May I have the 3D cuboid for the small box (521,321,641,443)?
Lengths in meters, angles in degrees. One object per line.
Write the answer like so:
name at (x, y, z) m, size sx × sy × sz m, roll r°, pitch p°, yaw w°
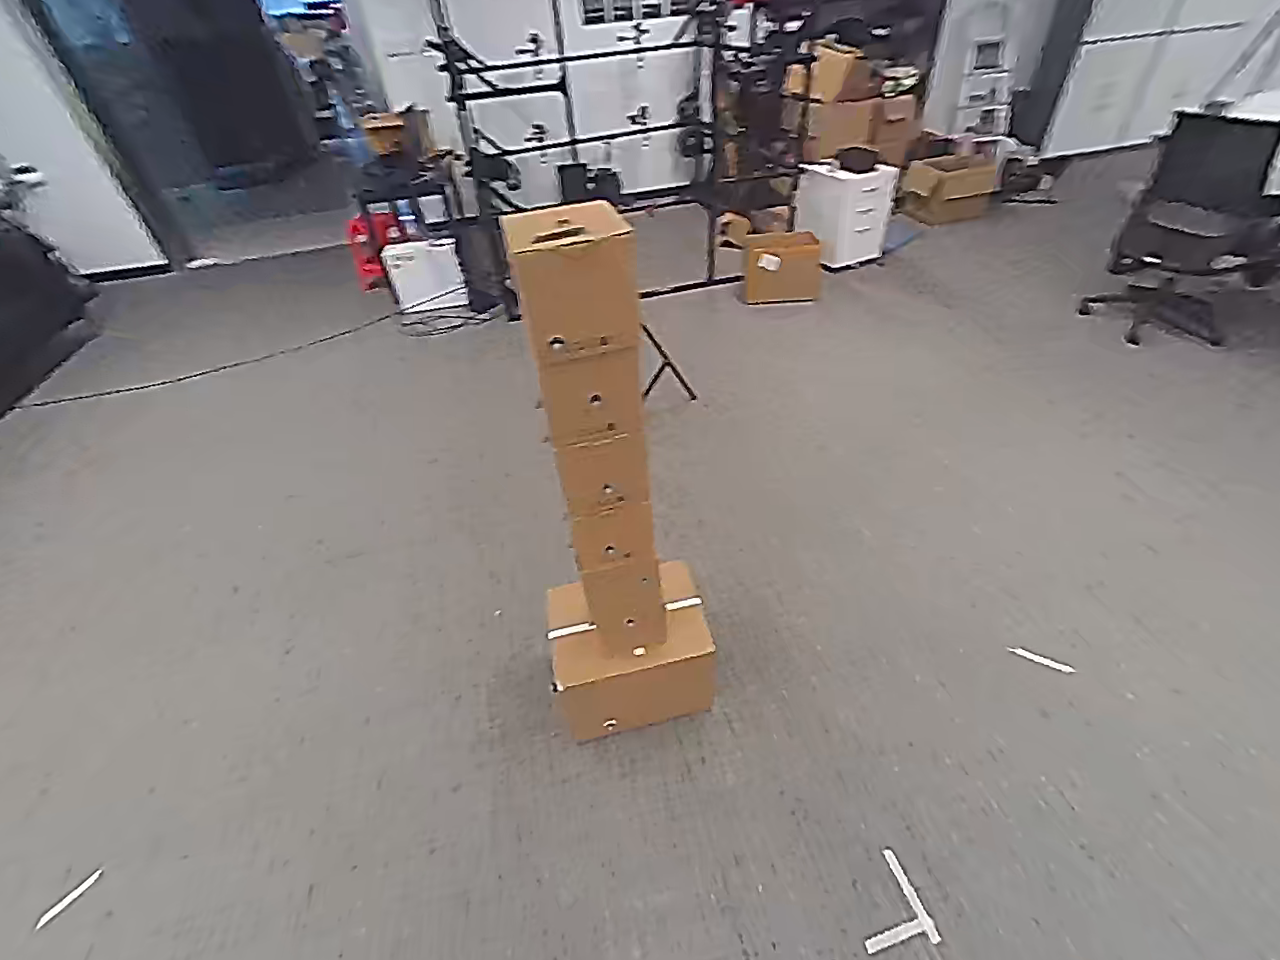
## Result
small box at (-0.100, -0.180, 0.945) m, size 0.168 × 0.176 × 0.179 m, roll -14°, pitch 43°, yaw -10°

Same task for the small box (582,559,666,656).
small box at (-0.038, 0.319, 1.364) m, size 0.179 × 0.176 × 0.168 m, roll -12°, pitch 43°, yaw -9°

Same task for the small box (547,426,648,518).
small box at (-0.087, -0.055, 1.049) m, size 0.168 × 0.176 × 0.179 m, roll -14°, pitch 43°, yaw -9°

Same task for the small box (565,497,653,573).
small box at (-0.073, 0.070, 1.156) m, size 0.168 × 0.176 × 0.179 m, roll -13°, pitch 43°, yaw -8°

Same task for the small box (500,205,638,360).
small box at (-0.106, -0.297, 0.828) m, size 0.168 × 0.176 × 0.179 m, roll -14°, pitch 42°, yaw -9°
